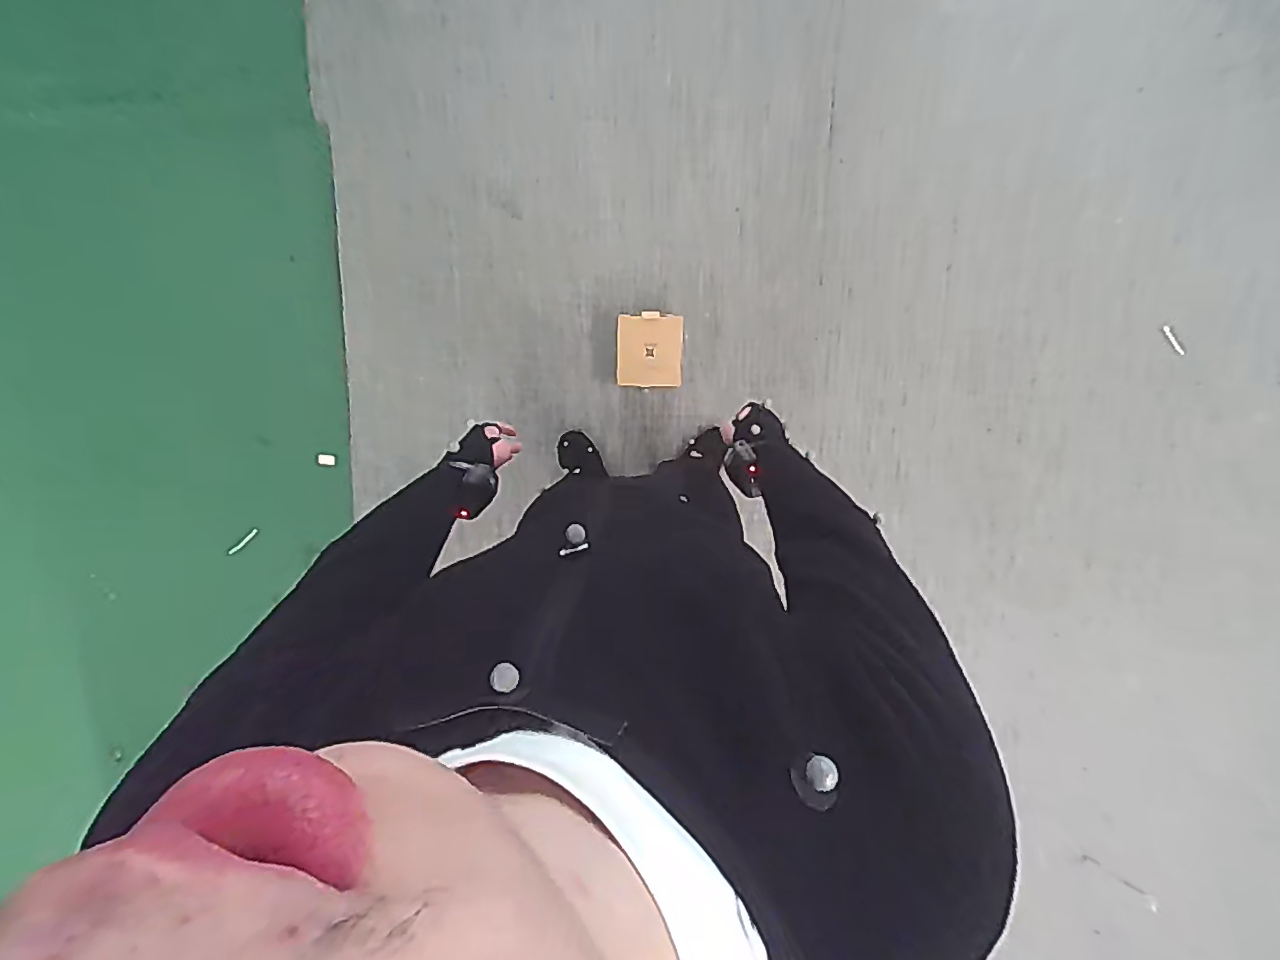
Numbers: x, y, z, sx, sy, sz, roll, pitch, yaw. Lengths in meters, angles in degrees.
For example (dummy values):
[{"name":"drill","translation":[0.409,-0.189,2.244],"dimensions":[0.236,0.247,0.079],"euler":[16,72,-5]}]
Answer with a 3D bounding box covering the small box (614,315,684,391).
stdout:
[{"name":"small box","translation":[0.025,-0.328,1.419],"dimensions":[0.168,0.176,0.179],"euler":[4,99,3]}]
